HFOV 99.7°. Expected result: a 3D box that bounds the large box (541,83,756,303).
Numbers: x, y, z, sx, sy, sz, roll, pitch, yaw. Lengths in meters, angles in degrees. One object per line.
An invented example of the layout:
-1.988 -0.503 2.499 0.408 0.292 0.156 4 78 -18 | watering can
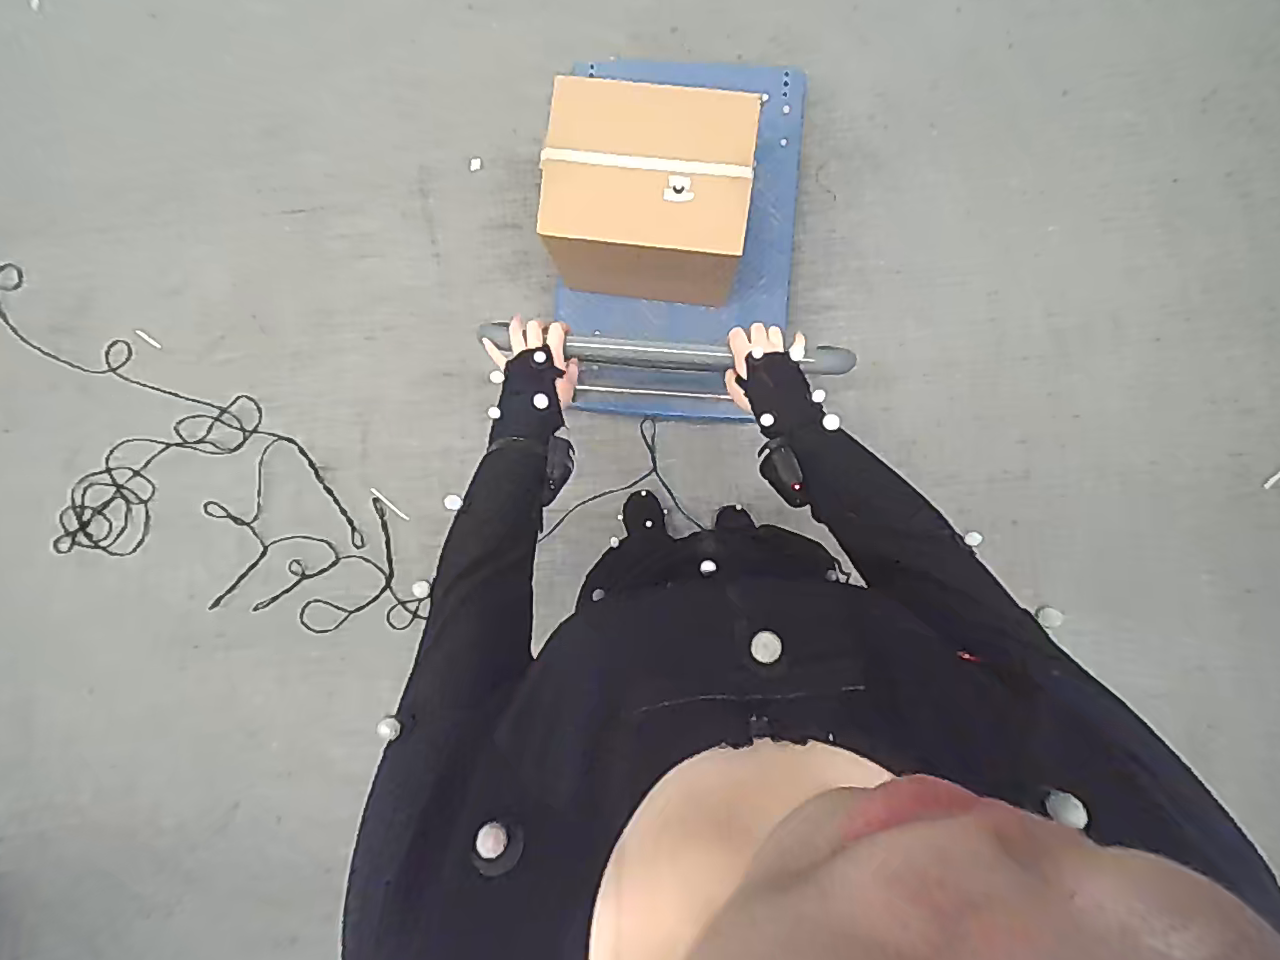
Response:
0.017 -0.613 1.208 0.408 0.320 0.320 7 90 2 | large box
